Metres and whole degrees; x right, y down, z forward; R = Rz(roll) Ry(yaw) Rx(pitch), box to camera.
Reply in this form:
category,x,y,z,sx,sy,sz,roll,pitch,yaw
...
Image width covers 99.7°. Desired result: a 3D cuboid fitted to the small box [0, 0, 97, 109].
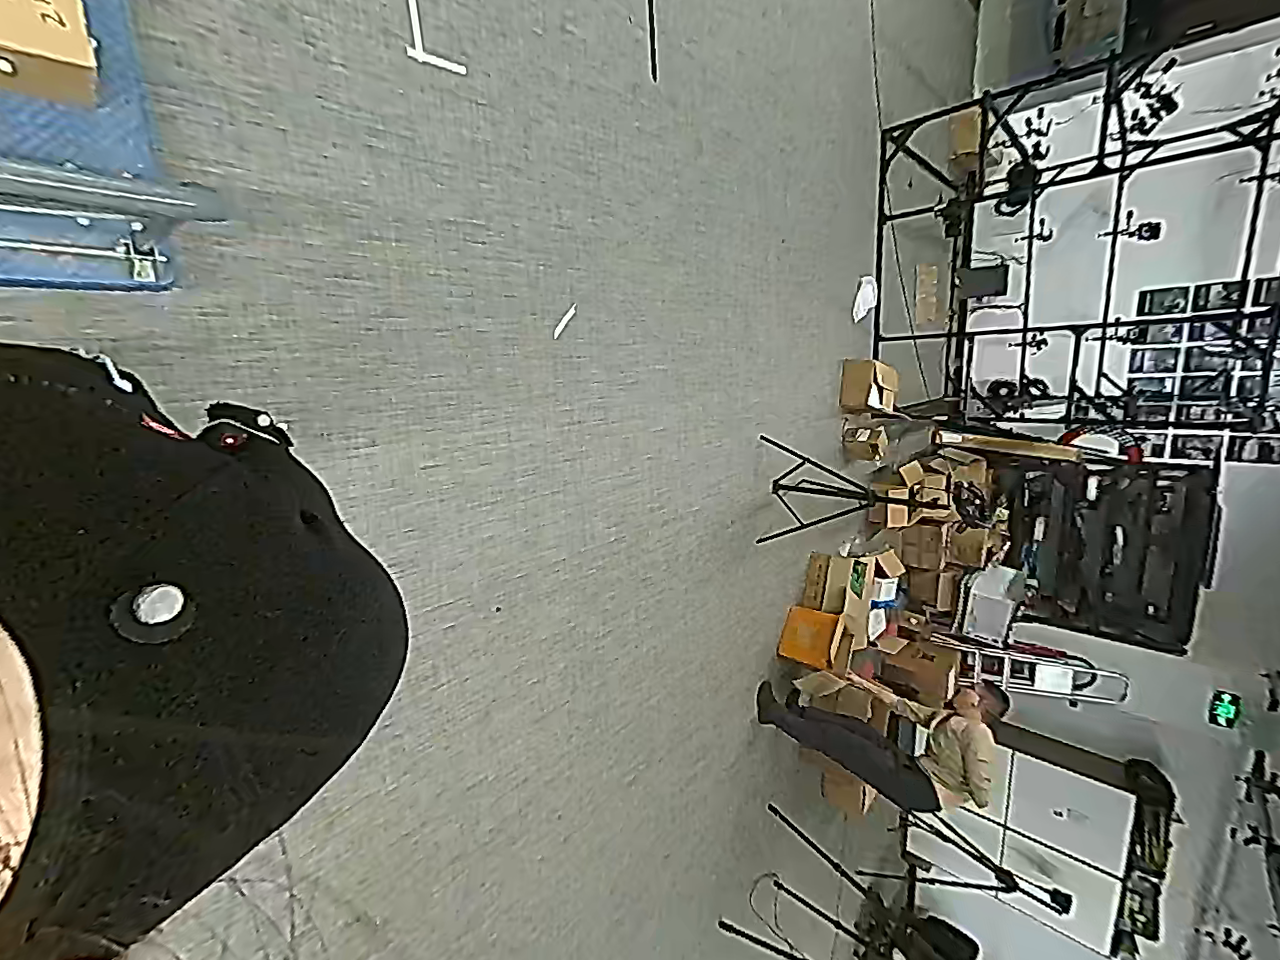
category,x,y,z,sx,sy,sz,roll,pitch,yaw
small box,-0.929,-0.672,0.782,0.179,0.176,0.168,-18,109,-45
